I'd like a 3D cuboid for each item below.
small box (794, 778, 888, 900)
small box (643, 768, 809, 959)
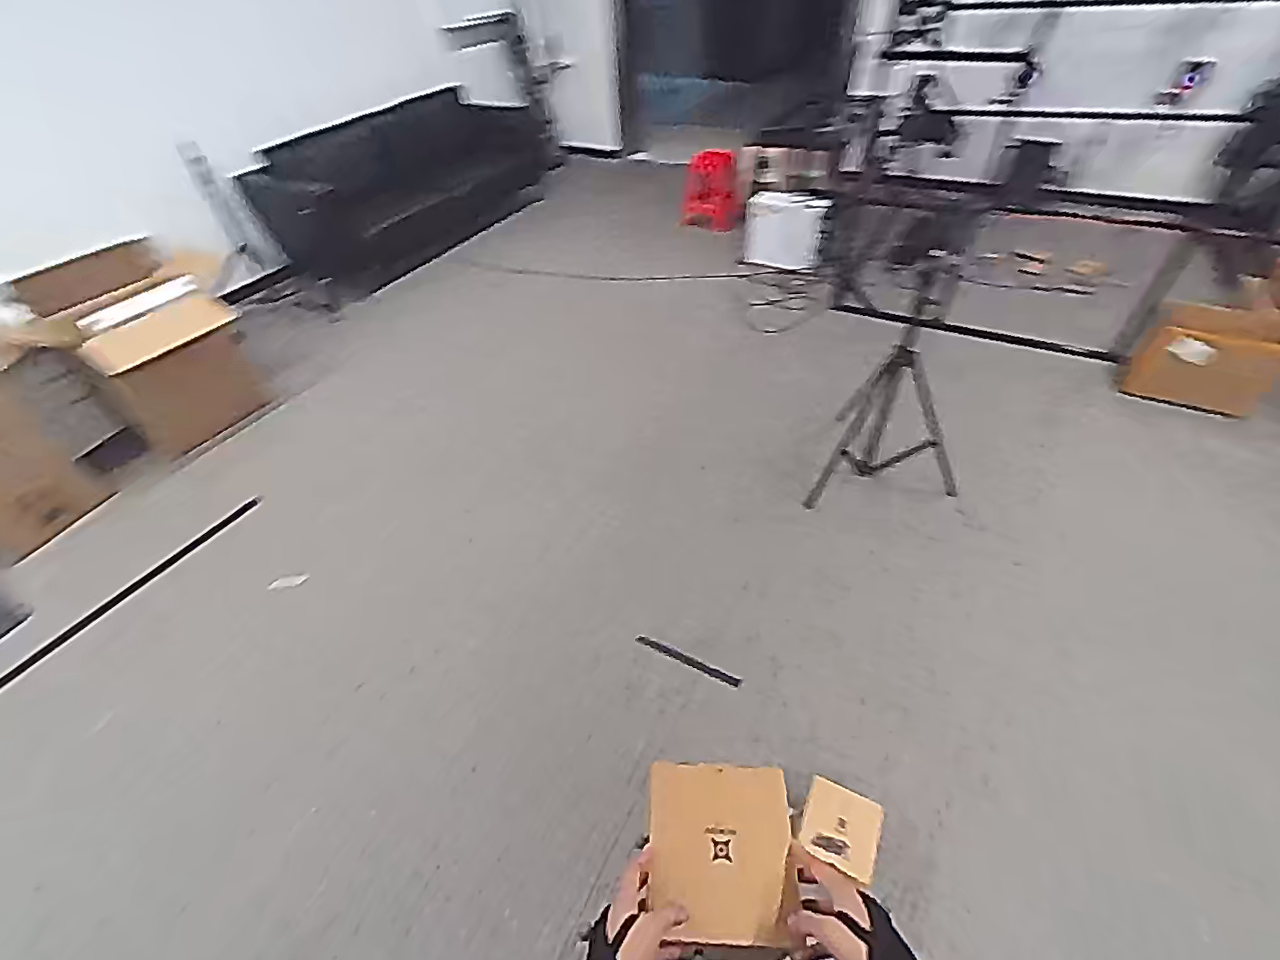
[{"bbox_3d":[0.476,0.867,1.300,0.168,0.176,0.179,18,48,21],"label":"small box"},{"bbox_3d":[0.089,0.472,0.650,0.168,0.176,0.179,2,42,0],"label":"small box"}]
